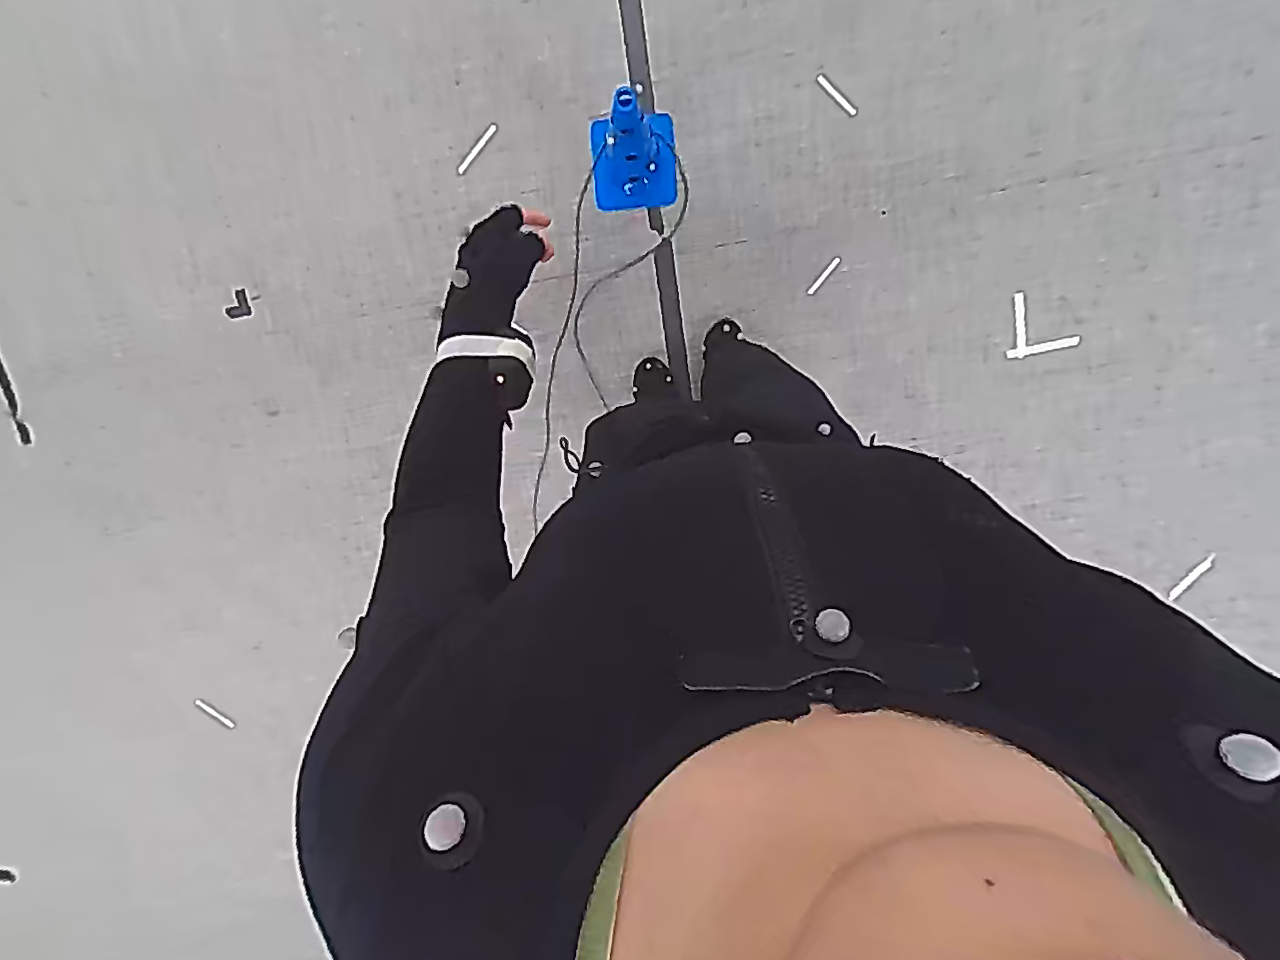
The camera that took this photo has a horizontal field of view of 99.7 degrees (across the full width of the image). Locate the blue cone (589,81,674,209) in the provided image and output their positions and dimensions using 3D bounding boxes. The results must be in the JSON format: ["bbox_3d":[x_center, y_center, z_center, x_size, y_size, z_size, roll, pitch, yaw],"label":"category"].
[{"bbox_3d":[-0.025,-0.712,1.123,0.193,0.380,0.192,-5,104,4],"label":"blue cone"}]
